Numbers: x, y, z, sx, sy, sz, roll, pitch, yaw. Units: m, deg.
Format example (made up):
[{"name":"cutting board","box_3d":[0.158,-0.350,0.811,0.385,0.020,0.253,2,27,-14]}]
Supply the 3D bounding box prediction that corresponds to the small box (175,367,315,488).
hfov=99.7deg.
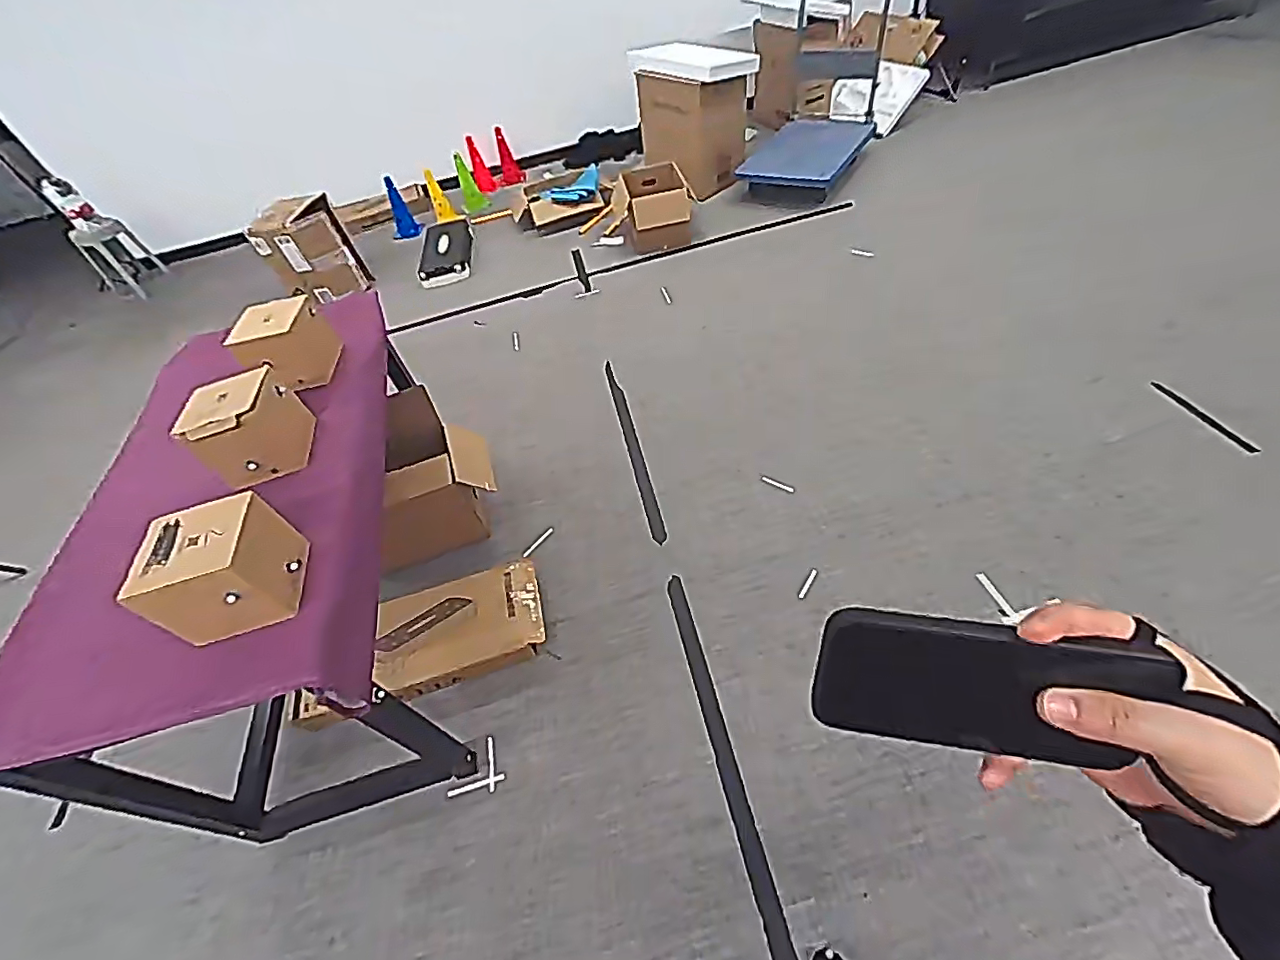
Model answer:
[{"name":"small box","box_3d":[-0.849,-0.113,1.186,0.168,0.176,0.179,-19,49,-2]}]

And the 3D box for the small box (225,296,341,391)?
[{"name":"small box","box_3d":[-0.909,-0.343,1.398,0.168,0.176,0.179,-12,48,1]}]
